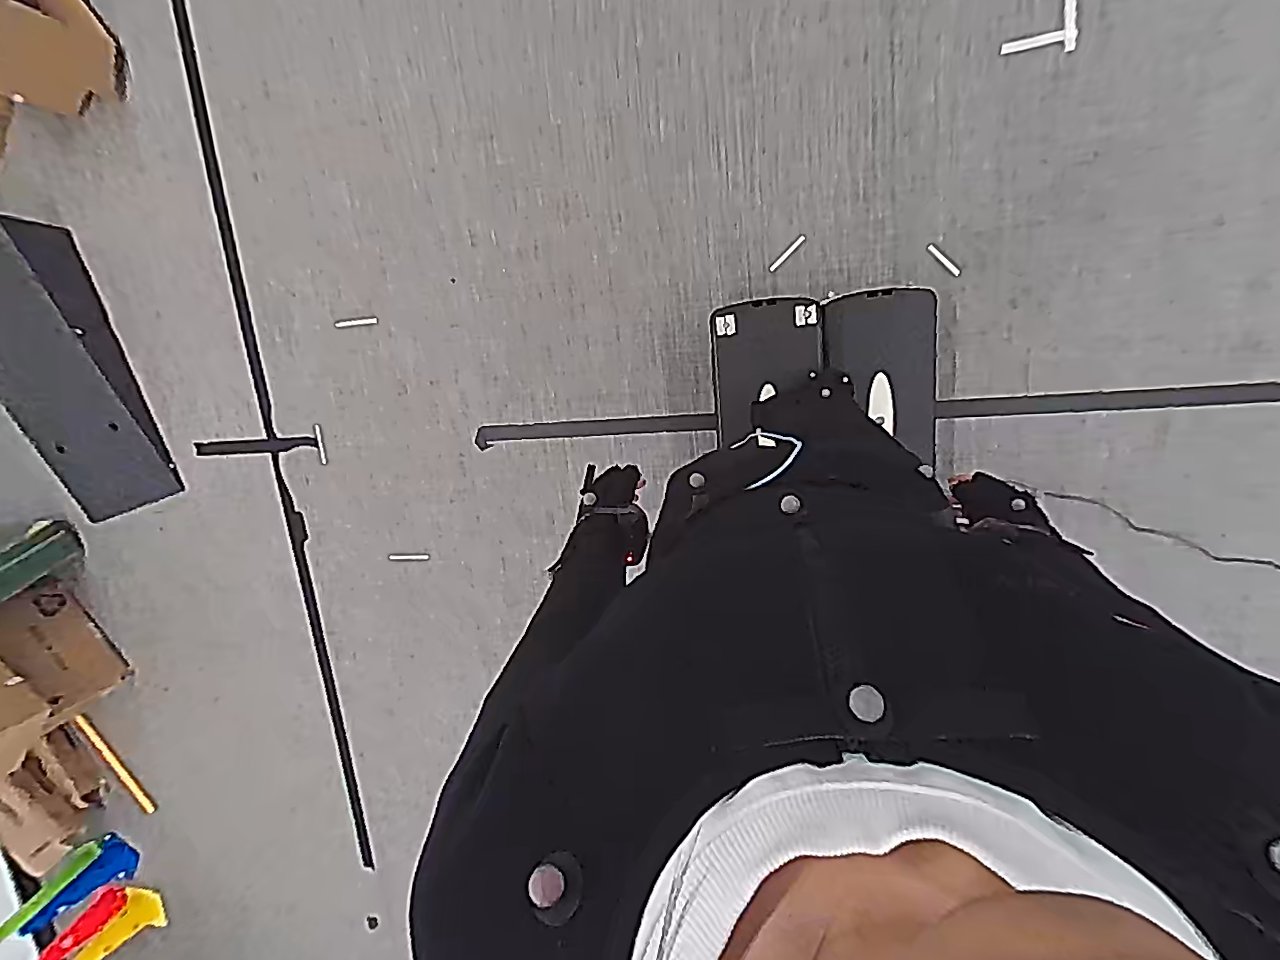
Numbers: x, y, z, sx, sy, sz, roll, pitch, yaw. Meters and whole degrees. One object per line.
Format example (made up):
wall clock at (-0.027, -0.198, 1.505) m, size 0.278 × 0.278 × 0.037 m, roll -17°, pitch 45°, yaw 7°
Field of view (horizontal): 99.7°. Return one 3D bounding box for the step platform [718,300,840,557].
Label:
step platform at (0.380, -0.132, 1.482) m, size 0.286 × 0.204 × 0.684 m, roll -4°, pitch 99°, yaw 12°
